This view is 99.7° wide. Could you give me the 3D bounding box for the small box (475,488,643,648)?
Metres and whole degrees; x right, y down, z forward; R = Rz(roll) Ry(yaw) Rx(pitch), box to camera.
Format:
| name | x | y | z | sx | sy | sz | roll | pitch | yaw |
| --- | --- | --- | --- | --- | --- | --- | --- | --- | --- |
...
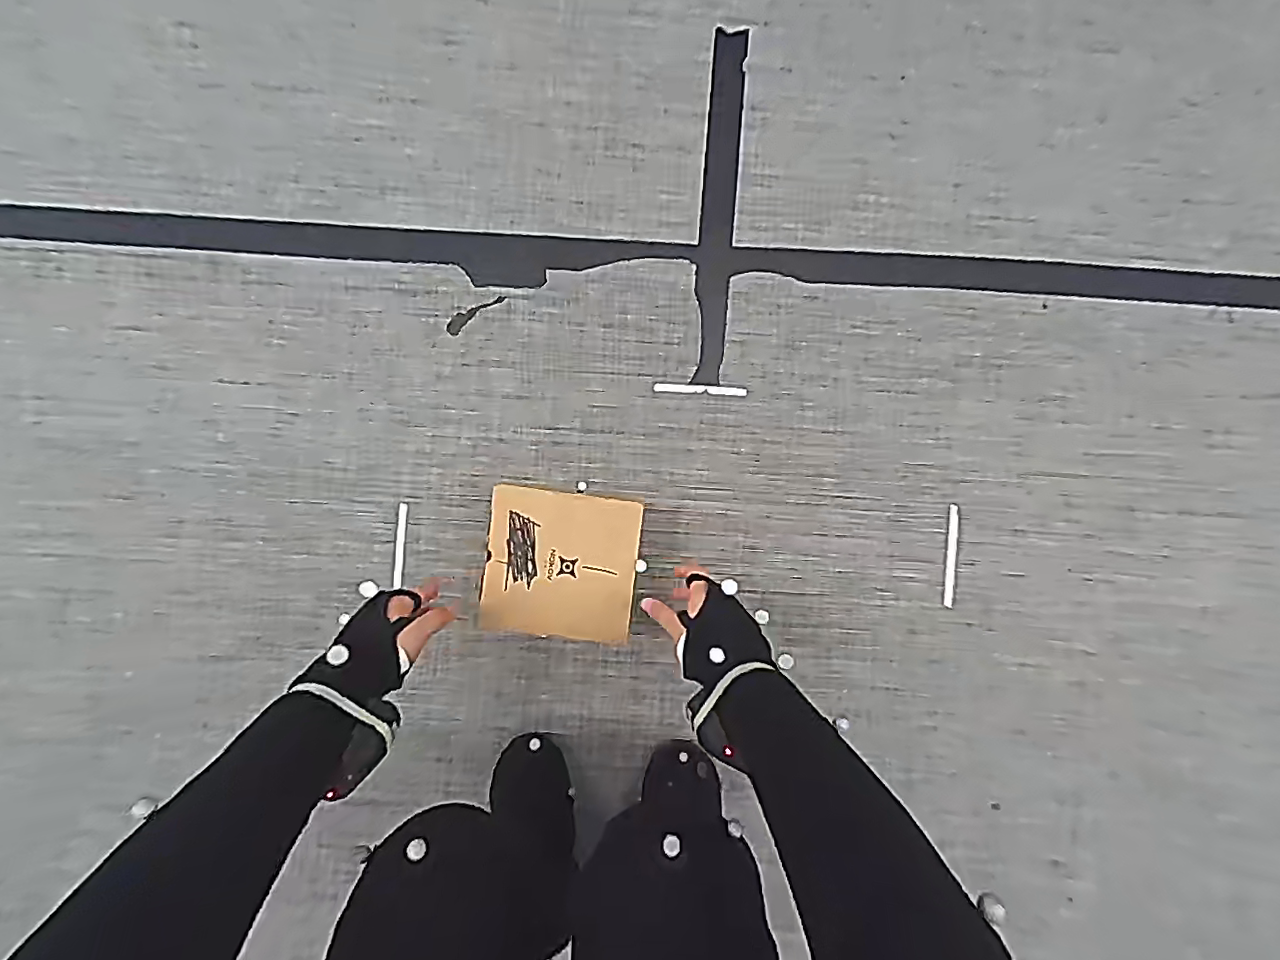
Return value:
| name | x | y | z | sx | sy | sz | roll | pitch | yaw |
| --- | --- | --- | --- | --- | --- | --- | --- | --- | --- |
| small box | -0.095 | 0.103 | 0.700 | 0.179 | 0.176 | 0.168 | 7 | 89 | -2 |
